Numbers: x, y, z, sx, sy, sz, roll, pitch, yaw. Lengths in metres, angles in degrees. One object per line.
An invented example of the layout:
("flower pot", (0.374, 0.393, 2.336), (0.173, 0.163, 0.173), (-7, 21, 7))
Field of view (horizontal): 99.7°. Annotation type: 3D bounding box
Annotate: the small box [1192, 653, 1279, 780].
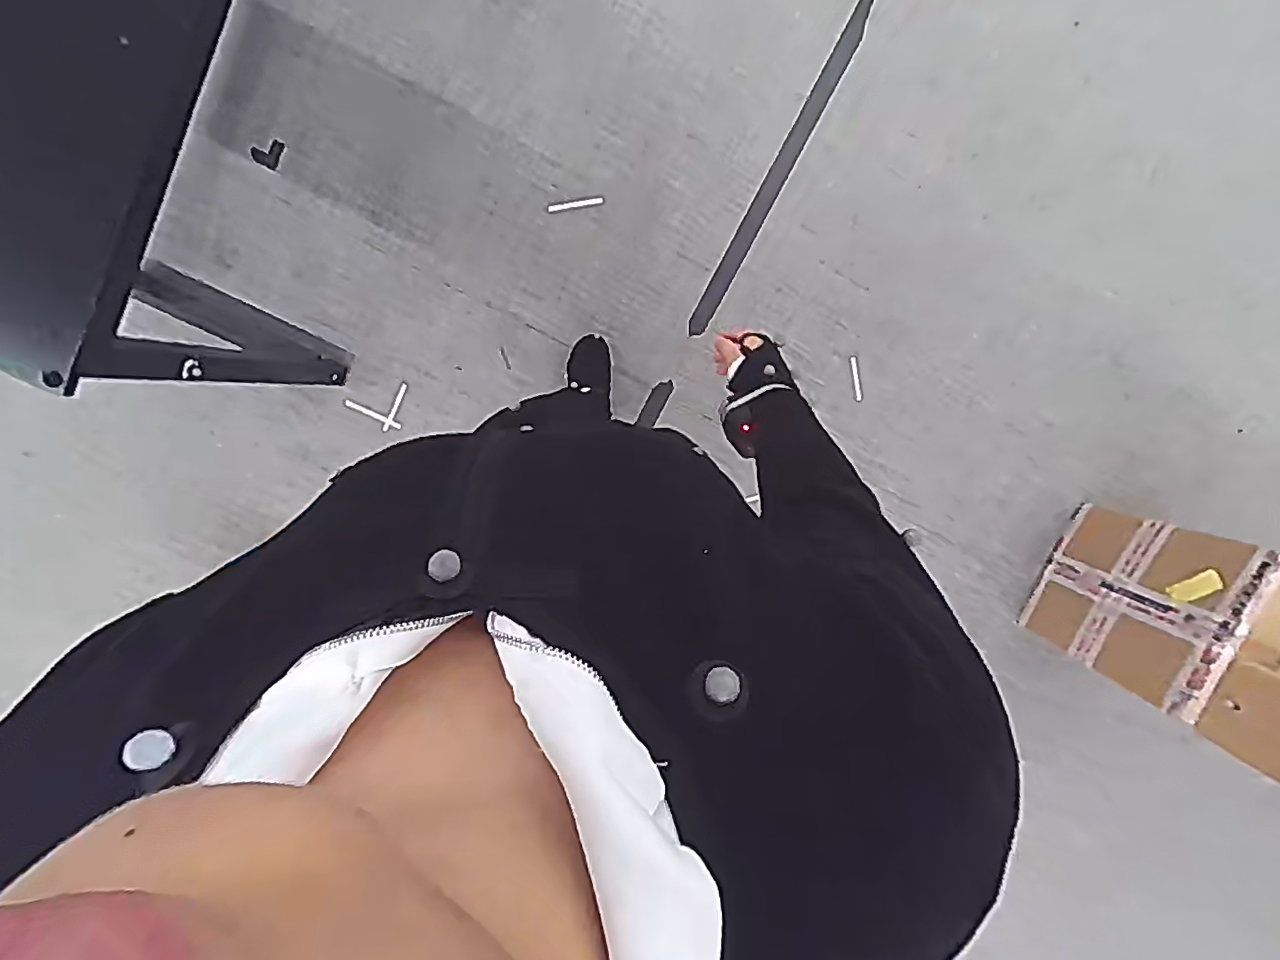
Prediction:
("small box", (1.239, 0.467, 1.038), (0.168, 0.176, 0.179), (19, 99, -1))
